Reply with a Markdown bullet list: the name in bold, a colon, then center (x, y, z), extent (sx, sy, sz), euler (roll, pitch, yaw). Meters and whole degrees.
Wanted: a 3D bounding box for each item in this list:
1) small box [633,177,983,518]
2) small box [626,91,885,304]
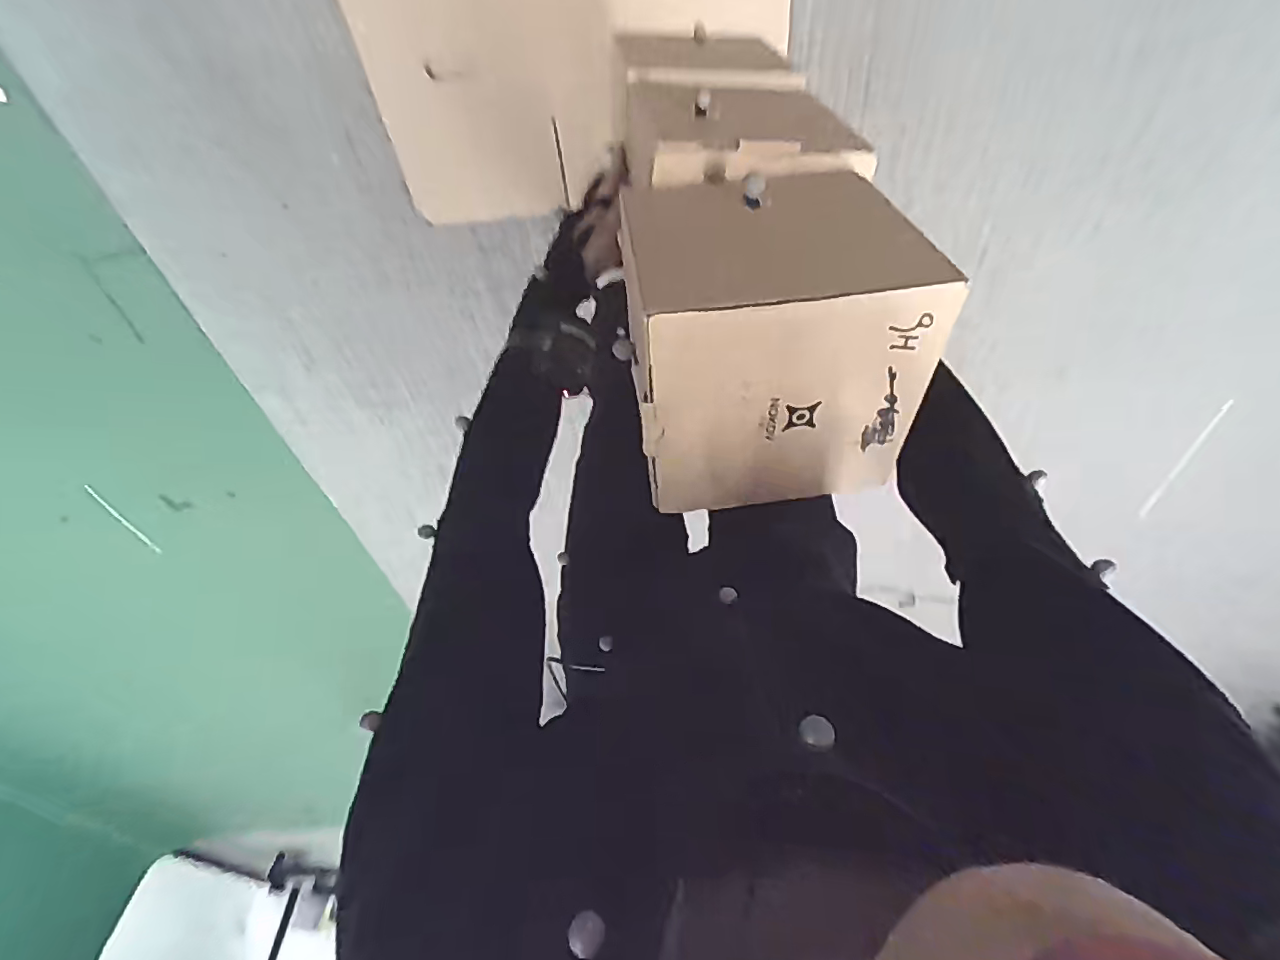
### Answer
- **small box**: center (0.088, -0.095, 0.386), extent (0.179, 0.176, 0.168), euler (-6, 138, -1)
- **small box**: center (0.079, -0.226, 0.485), extent (0.168, 0.176, 0.179), euler (-2, 138, -7)
